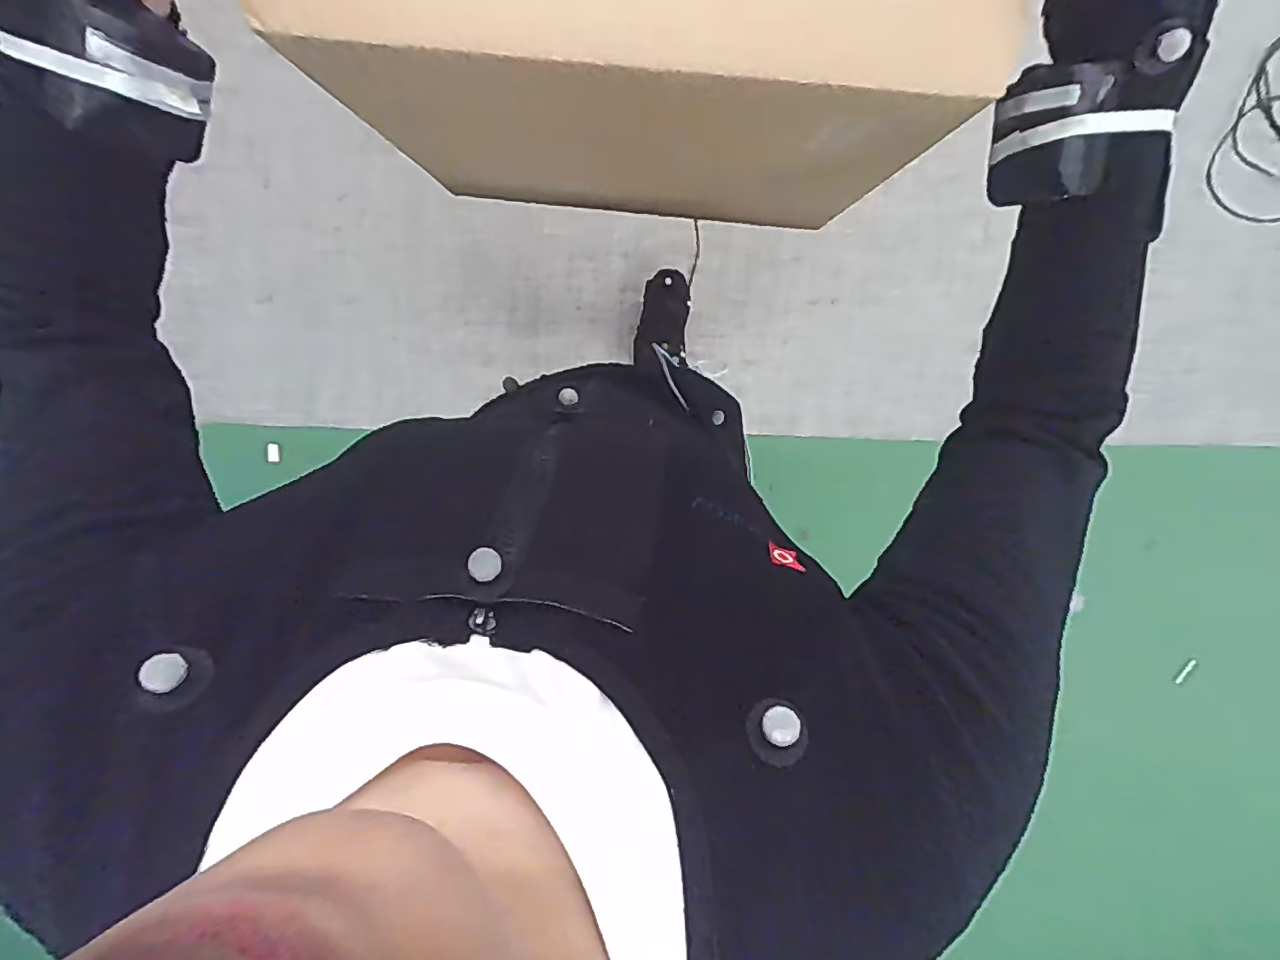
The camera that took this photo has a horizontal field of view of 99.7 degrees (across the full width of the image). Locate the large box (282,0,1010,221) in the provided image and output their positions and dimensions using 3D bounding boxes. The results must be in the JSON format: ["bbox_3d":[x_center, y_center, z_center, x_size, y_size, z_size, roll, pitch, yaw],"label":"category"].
[{"bbox_3d":[0.011,-0.410,0.413,0.408,0.320,0.320,5,103,0],"label":"large box"}]
